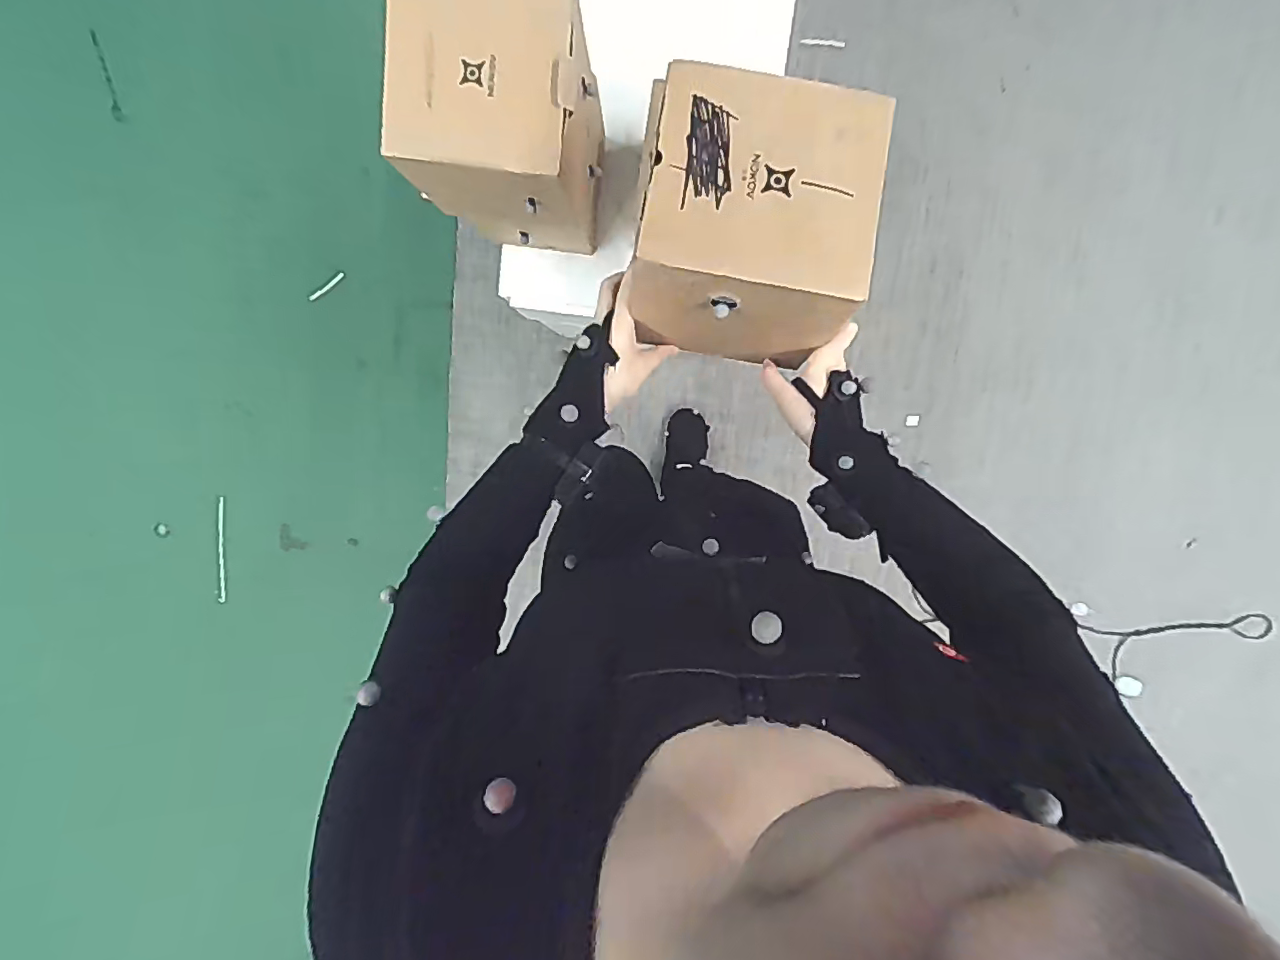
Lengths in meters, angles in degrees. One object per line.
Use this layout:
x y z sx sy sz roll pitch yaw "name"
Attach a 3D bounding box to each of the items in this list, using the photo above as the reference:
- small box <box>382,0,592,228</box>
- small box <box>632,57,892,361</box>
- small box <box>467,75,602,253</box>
-0.150 -0.388 0.584 0.179 0.176 0.168 7 98 1 "small box"
0.091 -0.219 0.482 0.179 0.176 0.168 10 84 -1 "small box"
-0.146 -0.427 0.742 0.168 0.176 0.179 8 99 -1 "small box"
